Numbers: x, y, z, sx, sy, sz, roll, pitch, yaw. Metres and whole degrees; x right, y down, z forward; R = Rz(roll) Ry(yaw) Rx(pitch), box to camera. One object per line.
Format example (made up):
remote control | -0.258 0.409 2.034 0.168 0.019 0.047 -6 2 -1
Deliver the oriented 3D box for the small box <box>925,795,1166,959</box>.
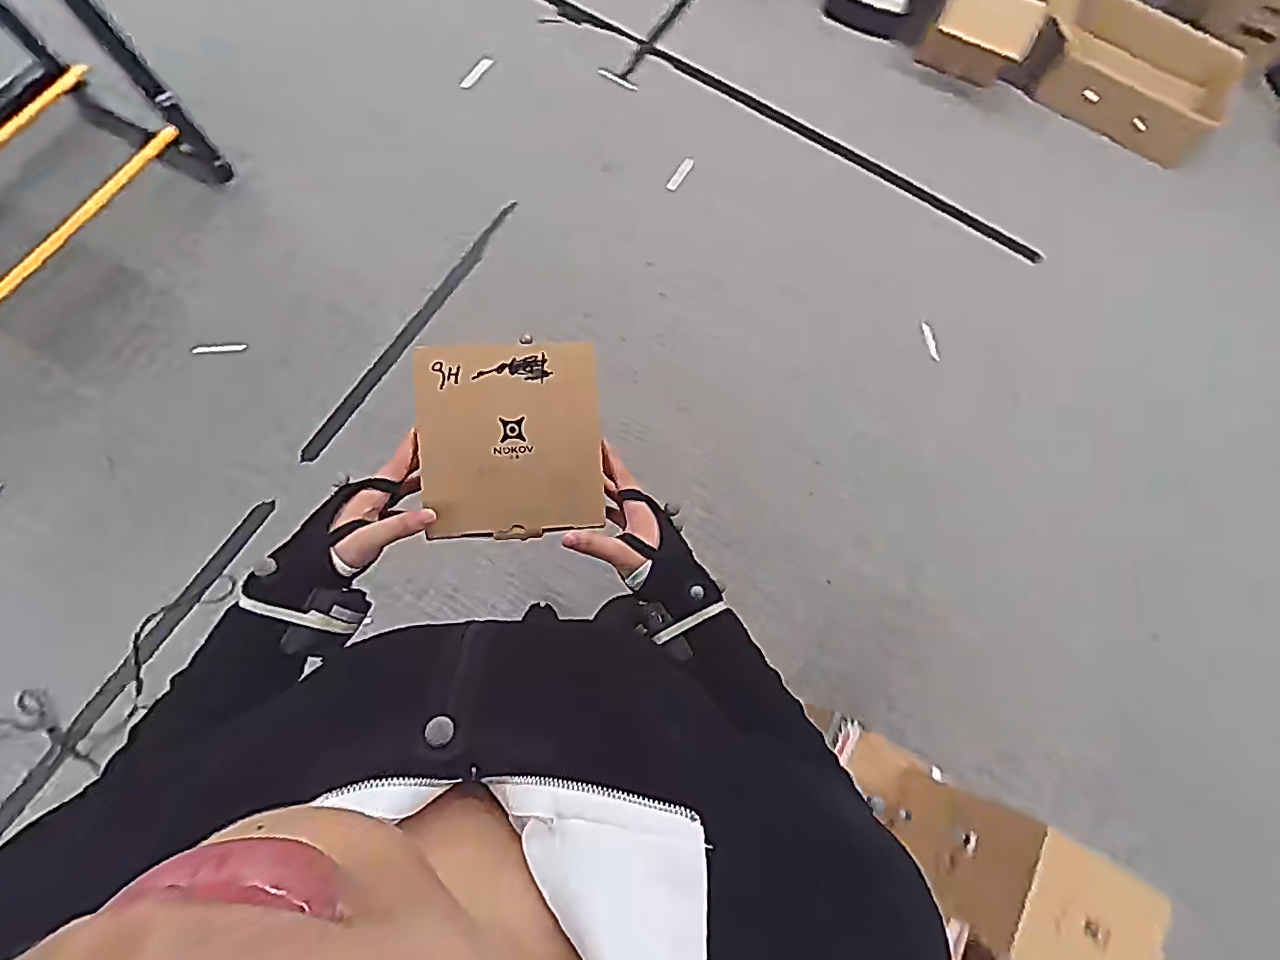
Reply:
small box | 0.538 0.567 0.737 0.179 0.176 0.168 31 73 5

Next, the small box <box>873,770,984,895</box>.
small box | 0.527 0.612 0.893 0.179 0.176 0.168 31 73 5
